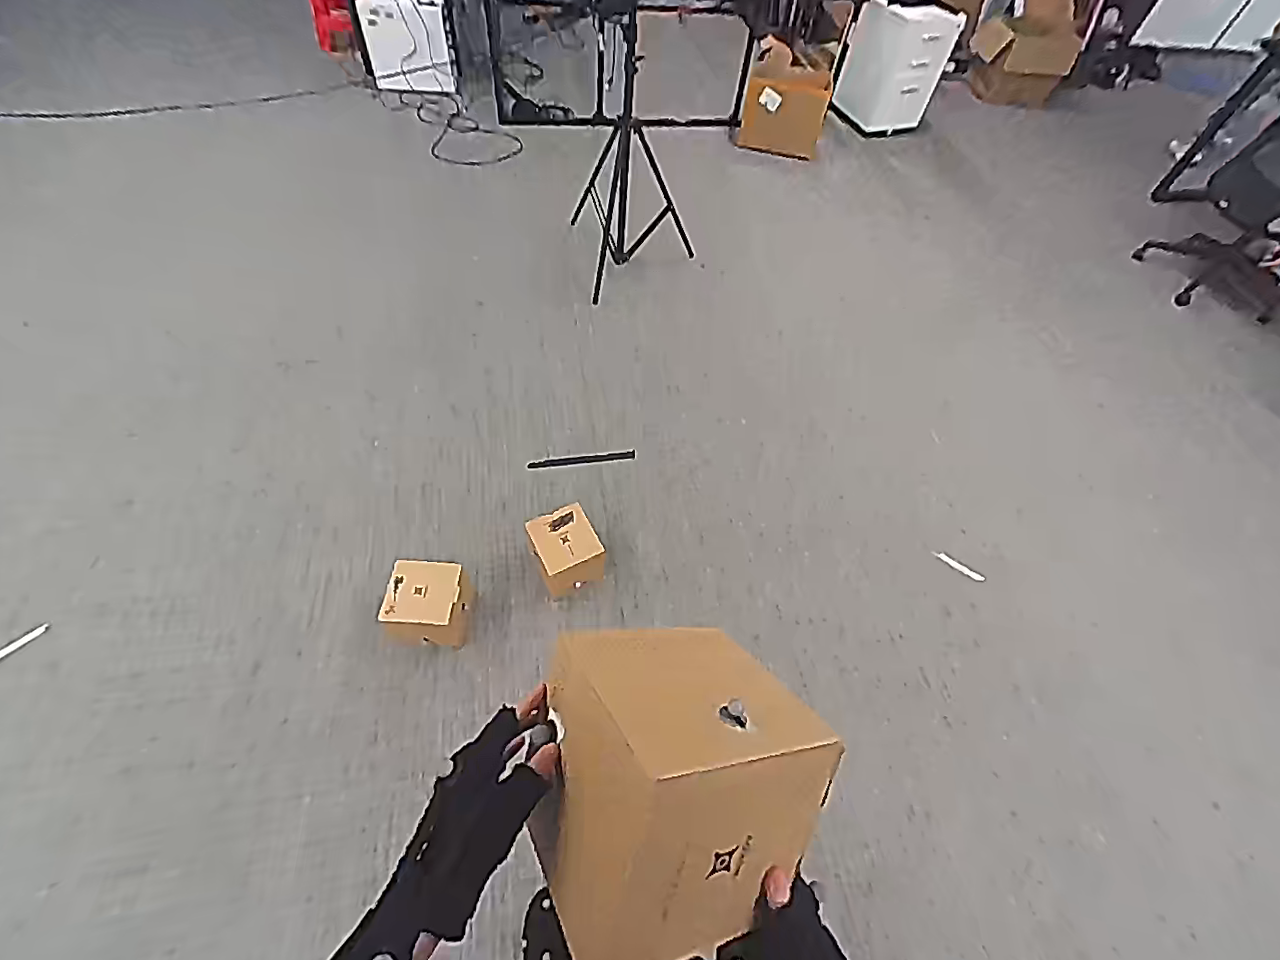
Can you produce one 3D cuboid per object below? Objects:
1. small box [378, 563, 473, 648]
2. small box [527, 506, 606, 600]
[{"bbox_3d":[-0.550,0.334,1.422,0.179,0.176,0.168,5,55,-2],"label":"small box"},{"bbox_3d":[-0.209,0.209,1.537,0.168,0.176,0.179,-22,61,-19],"label":"small box"}]
